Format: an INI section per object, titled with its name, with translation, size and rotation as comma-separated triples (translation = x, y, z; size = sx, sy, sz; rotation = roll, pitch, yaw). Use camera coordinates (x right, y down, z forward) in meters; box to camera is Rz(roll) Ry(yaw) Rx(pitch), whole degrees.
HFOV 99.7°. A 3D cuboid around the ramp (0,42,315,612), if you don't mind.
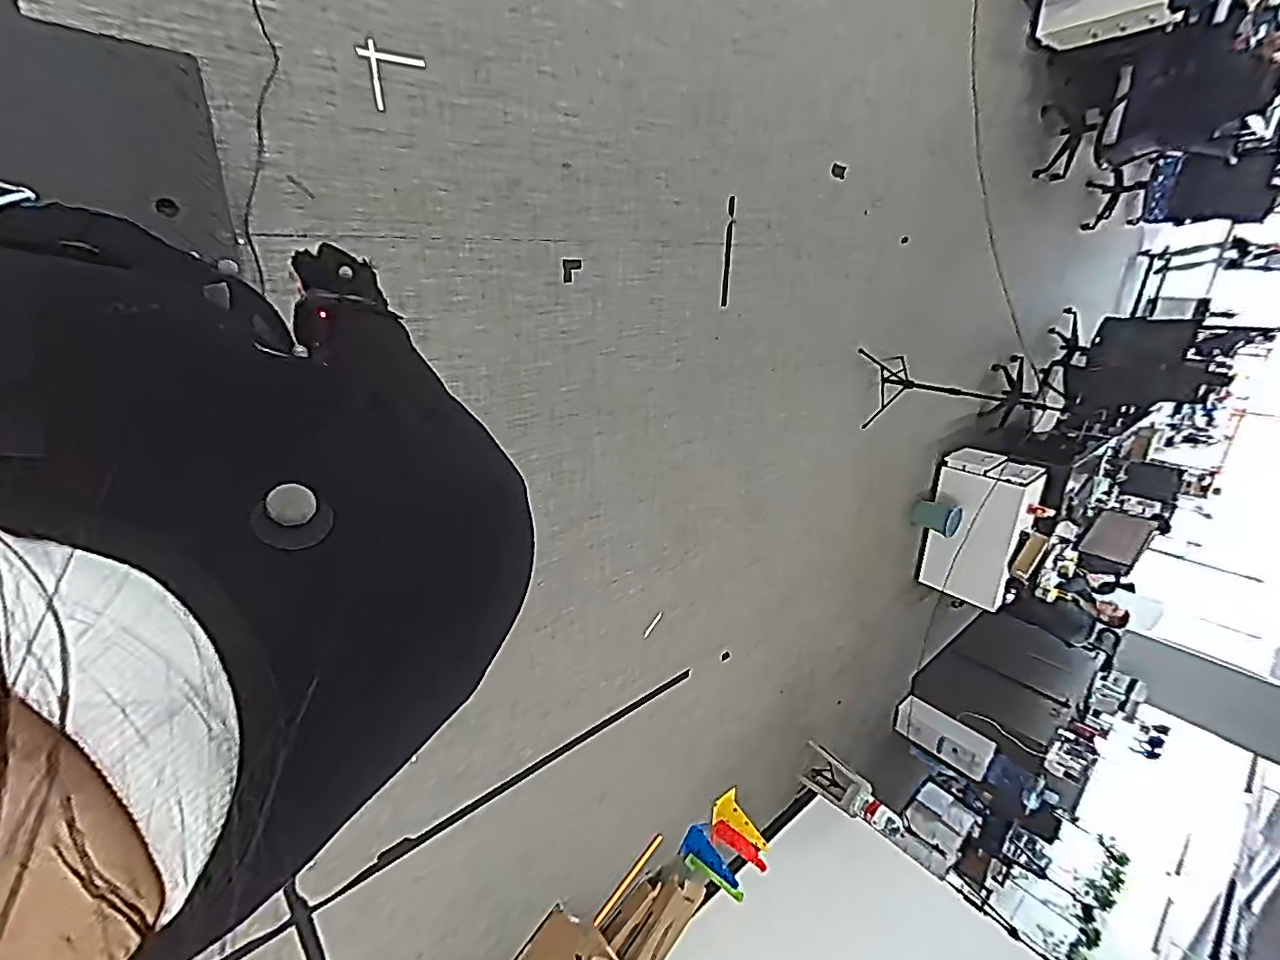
[ramp]
translation = -1.027, -0.284, 1.057
size = 0.509, 0.206, 0.991
rotation = -16, 115, -34
